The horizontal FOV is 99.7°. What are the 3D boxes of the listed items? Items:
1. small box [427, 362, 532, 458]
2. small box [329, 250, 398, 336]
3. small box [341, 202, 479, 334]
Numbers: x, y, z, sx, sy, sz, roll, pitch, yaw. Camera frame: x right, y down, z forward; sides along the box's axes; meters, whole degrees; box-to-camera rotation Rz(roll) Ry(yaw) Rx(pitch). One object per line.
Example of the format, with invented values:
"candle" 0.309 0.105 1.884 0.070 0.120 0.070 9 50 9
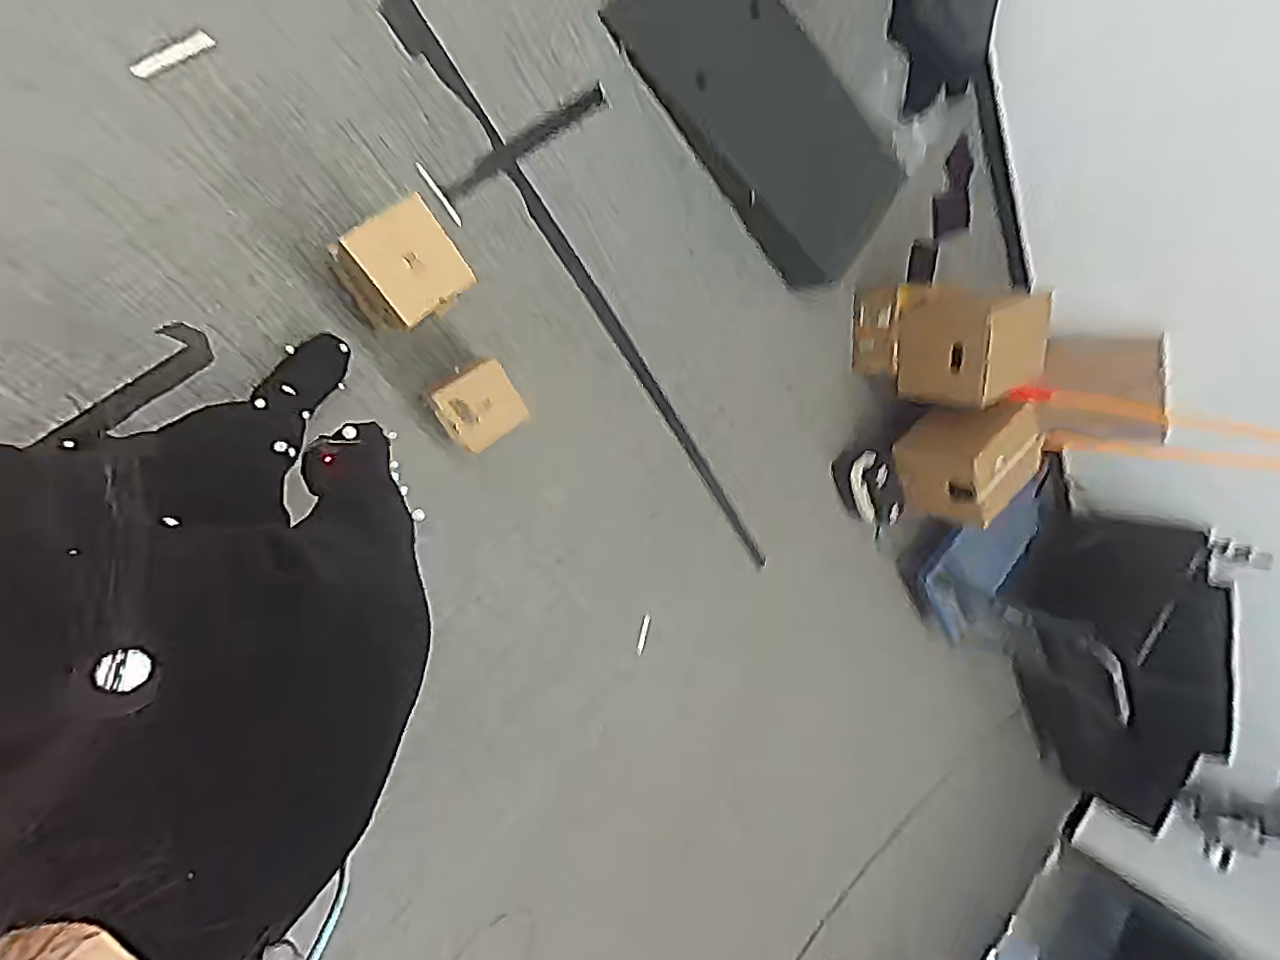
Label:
"small box" -0.403 -0.177 1.335 0.179 0.176 0.168 -39 119 -20
"small box" -0.549 -0.433 1.183 0.168 0.176 0.179 -39 119 -19
"small box" -0.450 -0.403 1.055 0.168 0.176 0.179 -43 119 -17
